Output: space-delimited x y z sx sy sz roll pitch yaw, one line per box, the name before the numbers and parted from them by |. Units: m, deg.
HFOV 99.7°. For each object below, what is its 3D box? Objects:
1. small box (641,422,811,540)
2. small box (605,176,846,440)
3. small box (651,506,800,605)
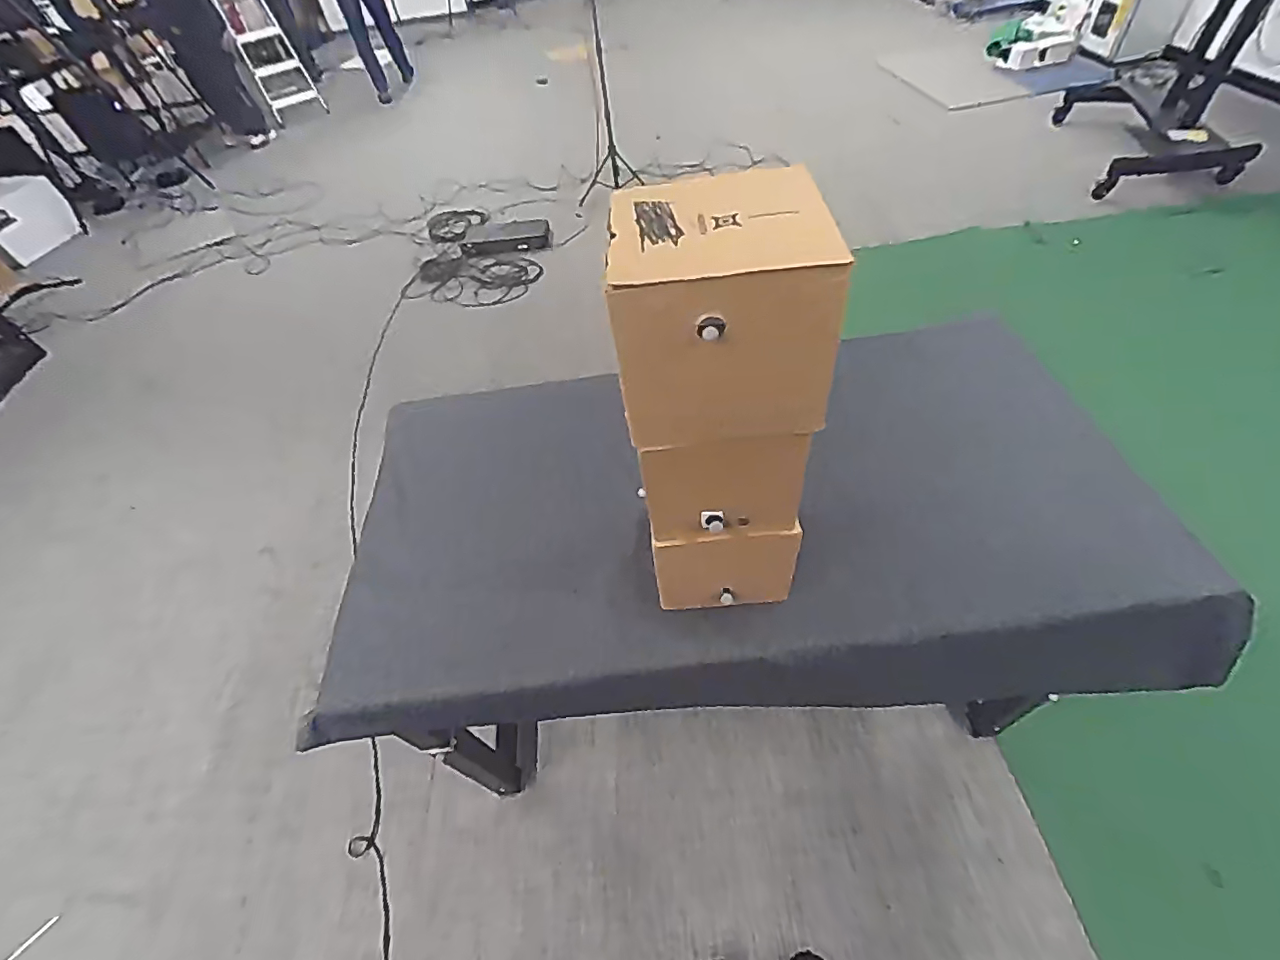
small box | 0.087 -0.052 0.628 0.168 0.176 0.179 -7 51 4
small box | 0.070 -0.151 0.498 0.179 0.176 0.168 -4 50 5
small box | 0.106 0.059 0.746 0.179 0.176 0.168 -5 50 3
